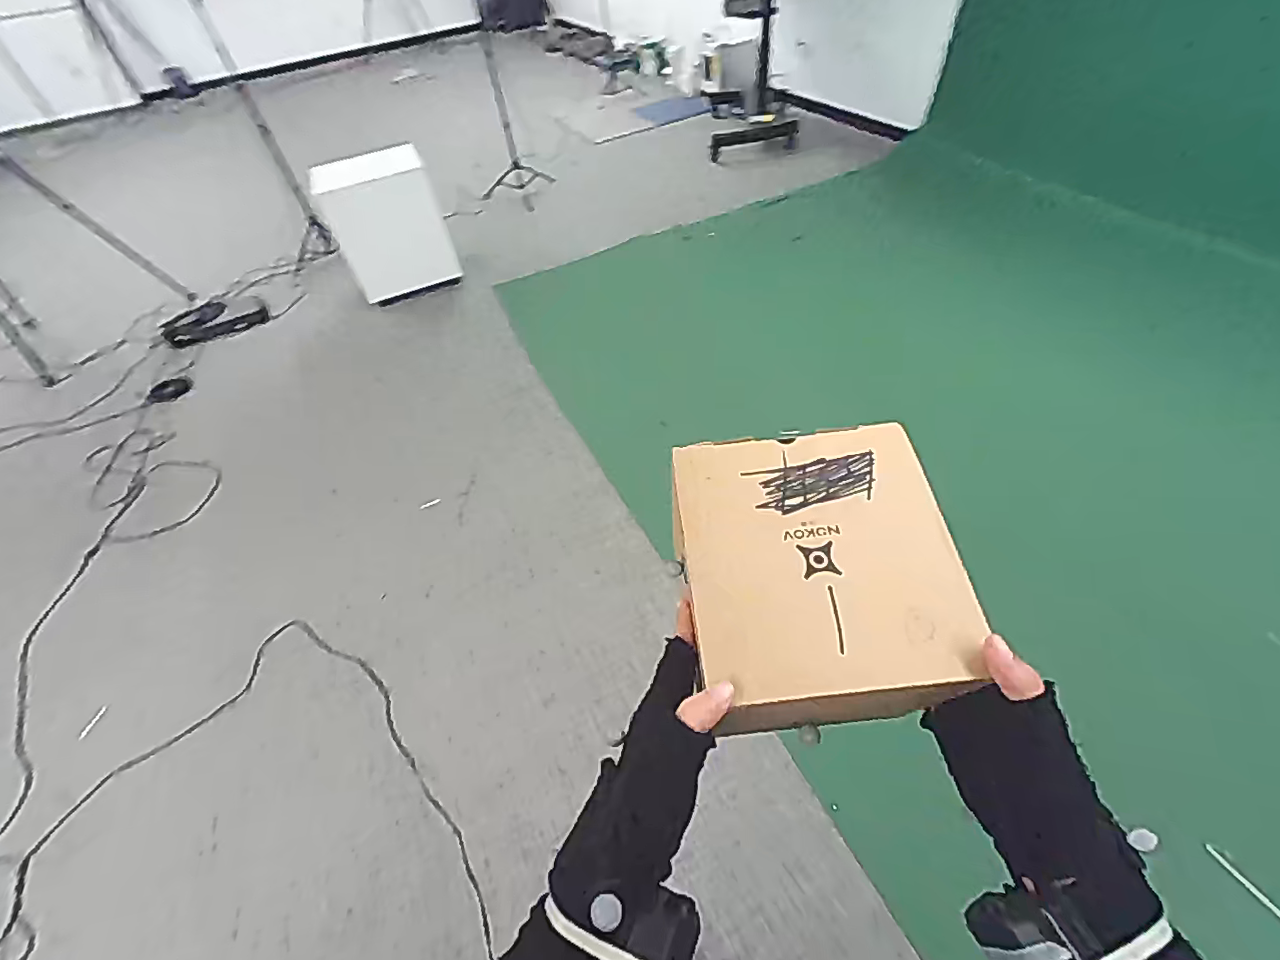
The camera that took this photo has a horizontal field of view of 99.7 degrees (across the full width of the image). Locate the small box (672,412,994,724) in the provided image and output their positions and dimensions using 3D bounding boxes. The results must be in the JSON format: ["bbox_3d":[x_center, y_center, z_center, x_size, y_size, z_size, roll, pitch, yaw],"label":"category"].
[{"bbox_3d":[0.114,0.074,0.412,0.168,0.176,0.179,-7,59,1],"label":"small box"}]
